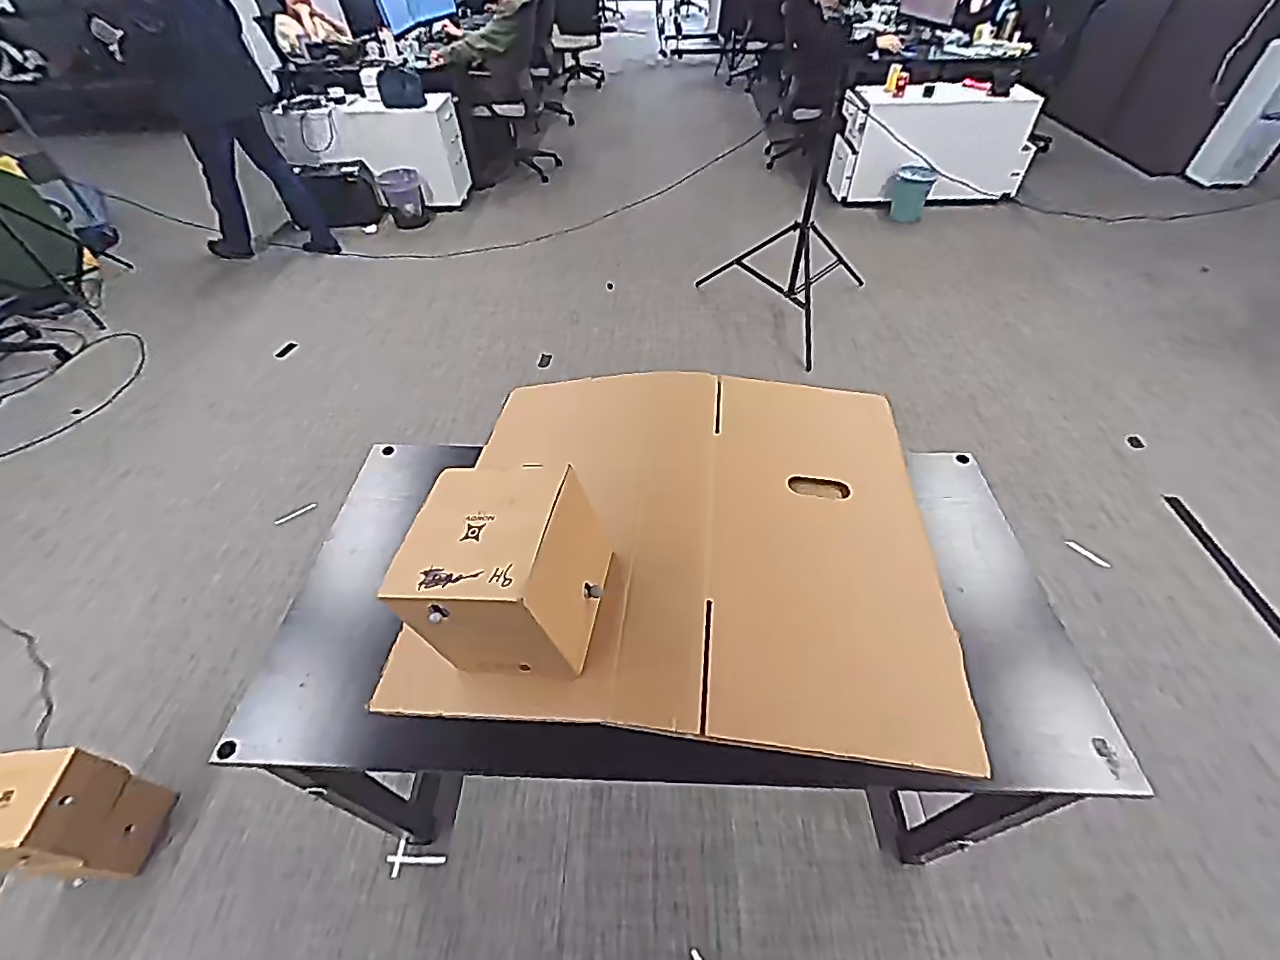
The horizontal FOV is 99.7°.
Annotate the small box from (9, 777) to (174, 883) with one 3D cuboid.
[{"bbox_3d":[-1.223,0.797,1.230,0.168,0.176,0.179,-2,48,-1],"label":"small box"}]

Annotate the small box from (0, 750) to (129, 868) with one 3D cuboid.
[{"bbox_3d":[-1.228,0.682,1.114,0.168,0.176,0.179,-4,46,-4],"label":"small box"}]

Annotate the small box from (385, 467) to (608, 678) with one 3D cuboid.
[{"bbox_3d":[-0.146,0.106,0.629,0.168,0.176,0.179,-3,46,18],"label":"small box"}]
